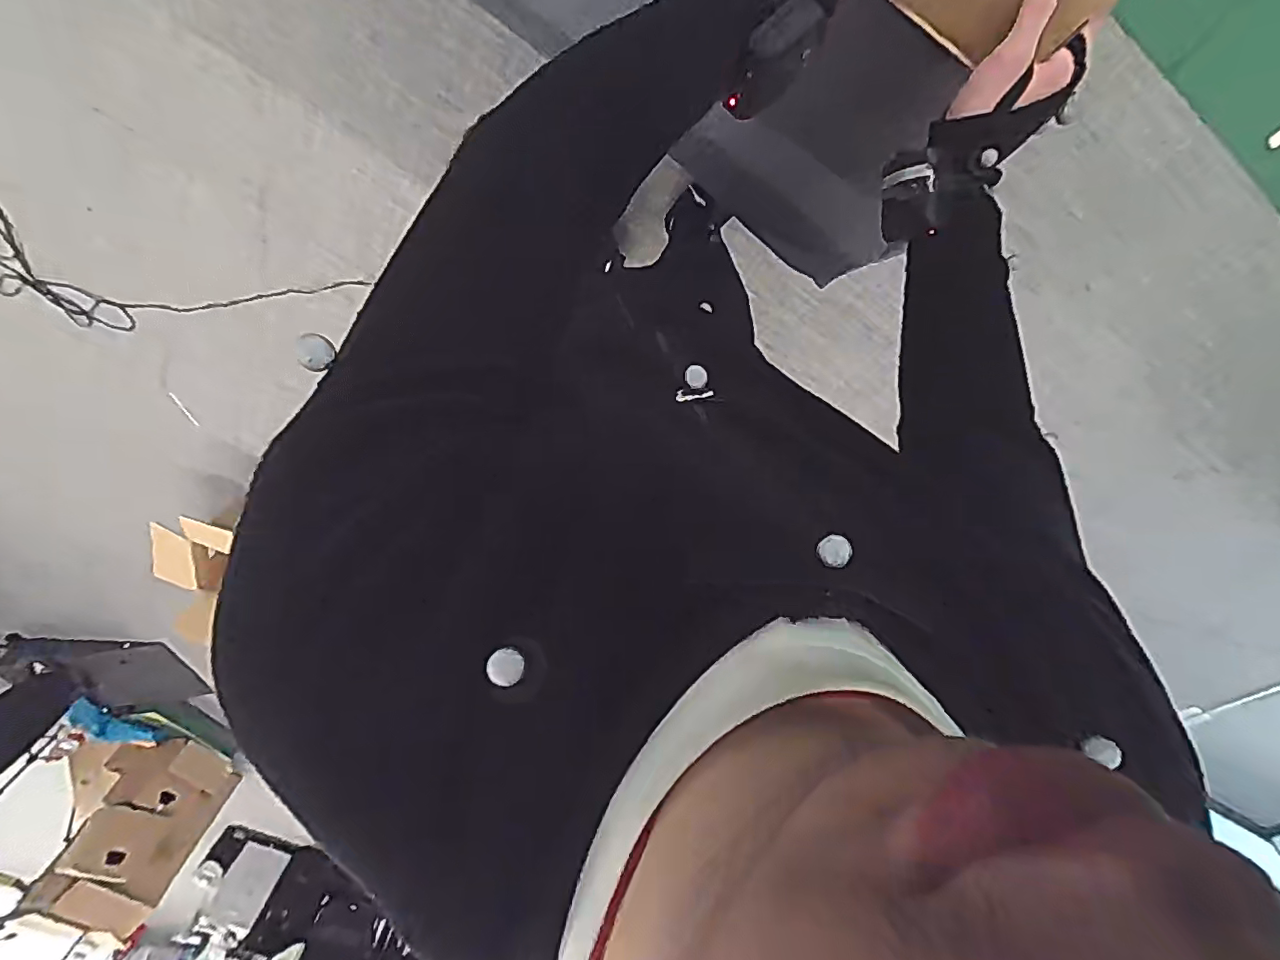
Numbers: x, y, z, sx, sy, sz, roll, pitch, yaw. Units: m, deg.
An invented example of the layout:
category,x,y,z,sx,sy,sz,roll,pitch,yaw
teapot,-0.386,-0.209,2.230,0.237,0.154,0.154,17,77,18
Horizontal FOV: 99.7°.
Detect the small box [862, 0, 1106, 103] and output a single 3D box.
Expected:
category,x,y,z,sx,sy,sz,roll,pitch,yaw
small box,0.270,-0.432,0.381,0.179,0.176,0.168,29,155,-11
